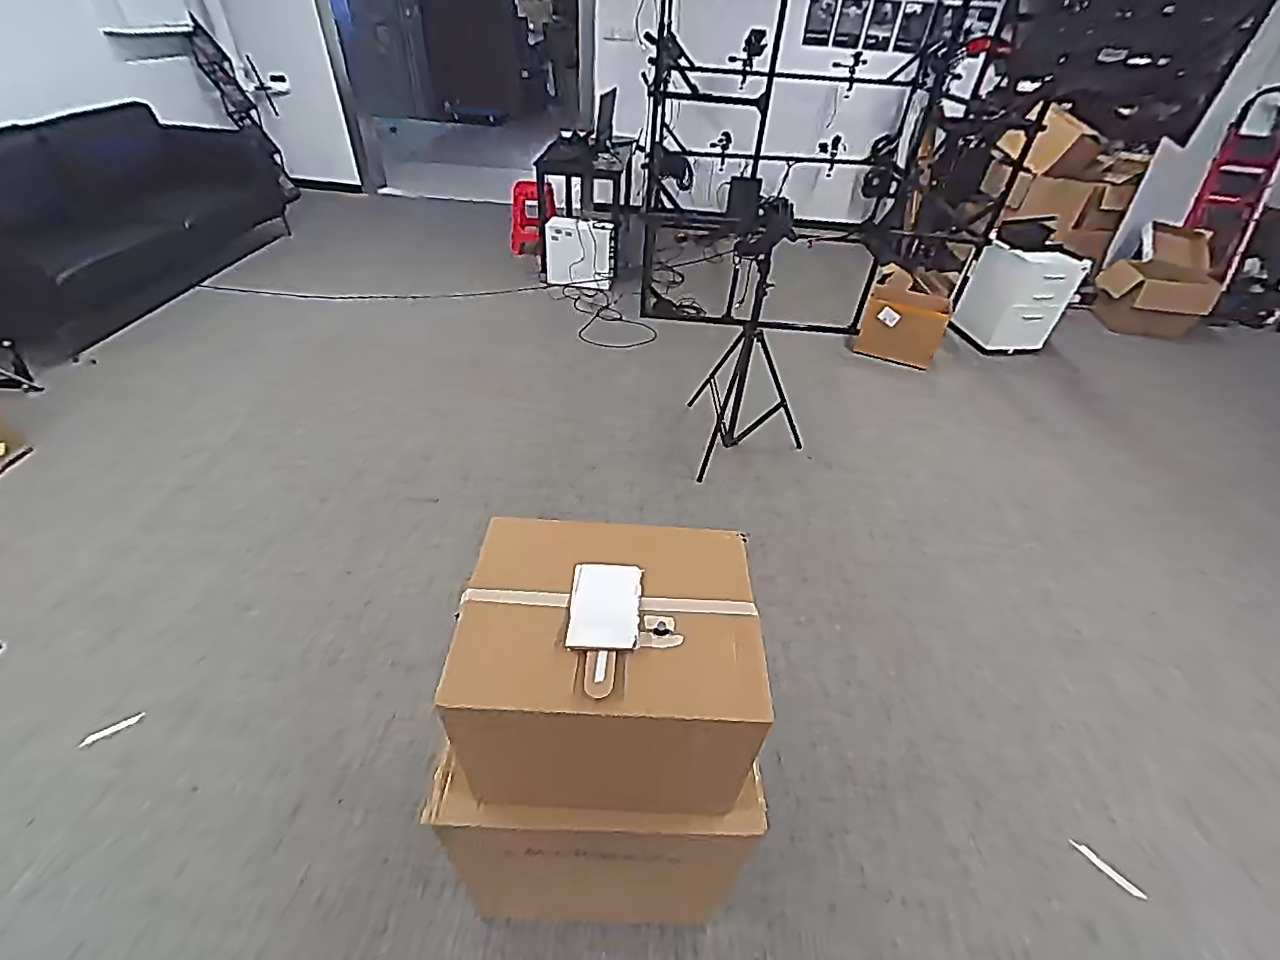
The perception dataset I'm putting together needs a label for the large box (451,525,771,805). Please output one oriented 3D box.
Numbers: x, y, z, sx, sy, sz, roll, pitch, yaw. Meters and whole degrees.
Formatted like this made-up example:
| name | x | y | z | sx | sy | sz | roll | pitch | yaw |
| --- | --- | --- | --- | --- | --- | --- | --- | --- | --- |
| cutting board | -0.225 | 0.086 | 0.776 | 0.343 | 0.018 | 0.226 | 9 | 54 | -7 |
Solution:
| name | x | y | z | sx | sy | sz | roll | pitch | yaw |
| --- | --- | --- | --- | --- | --- | --- | --- | --- | --- |
| large box | -0.045 | 0.295 | 0.867 | 0.408 | 0.320 | 0.320 | 4 | 41 | -2 |
